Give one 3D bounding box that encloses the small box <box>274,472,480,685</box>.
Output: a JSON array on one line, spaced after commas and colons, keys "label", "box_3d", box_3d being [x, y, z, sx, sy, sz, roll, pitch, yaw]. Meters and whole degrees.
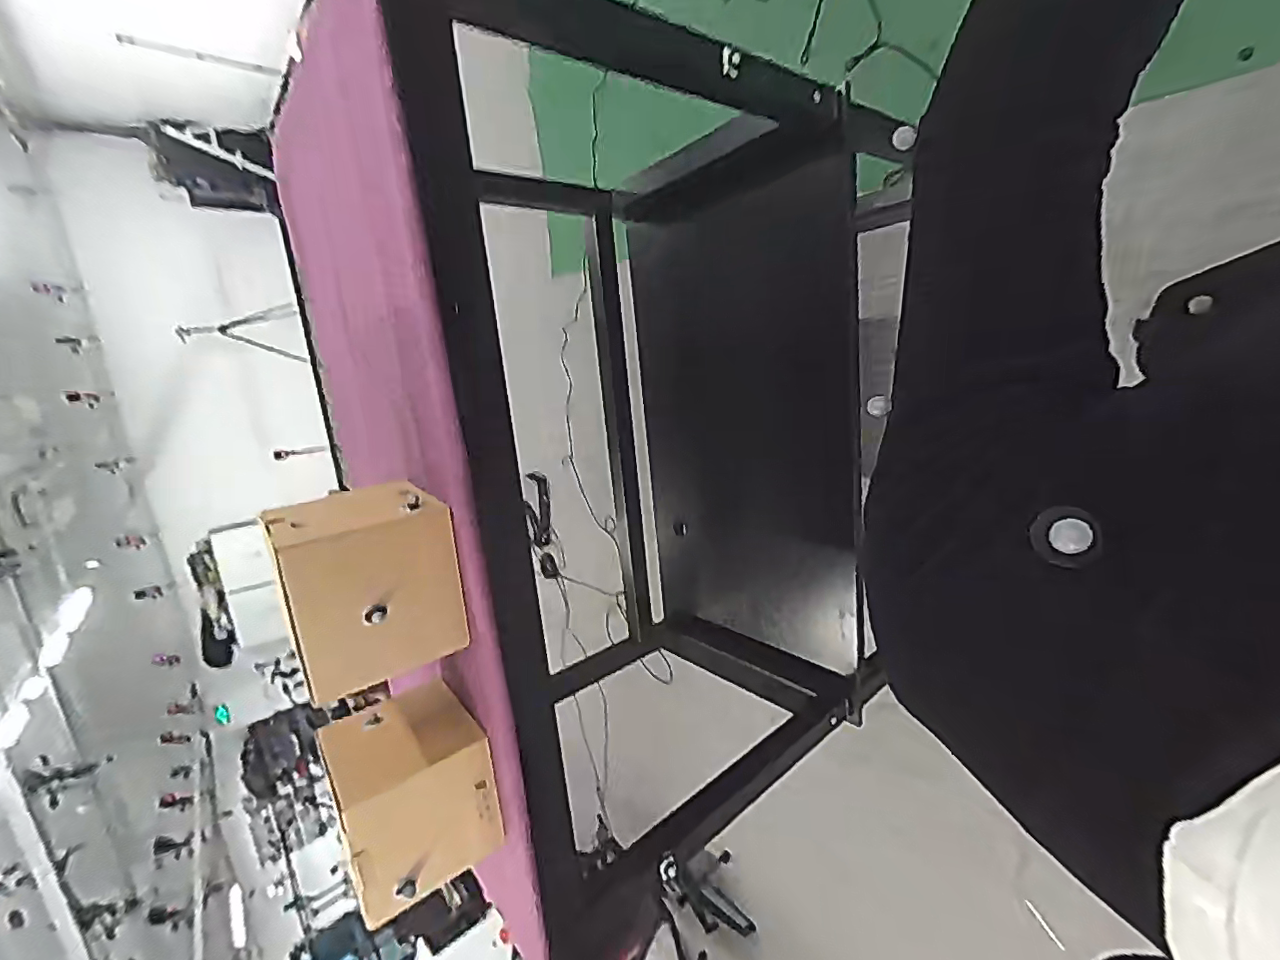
[{"label": "small box", "box_3d": [-0.308, 0.098, 0.642, 0.168, 0.176, 0.179, 17, 117, 50]}]
